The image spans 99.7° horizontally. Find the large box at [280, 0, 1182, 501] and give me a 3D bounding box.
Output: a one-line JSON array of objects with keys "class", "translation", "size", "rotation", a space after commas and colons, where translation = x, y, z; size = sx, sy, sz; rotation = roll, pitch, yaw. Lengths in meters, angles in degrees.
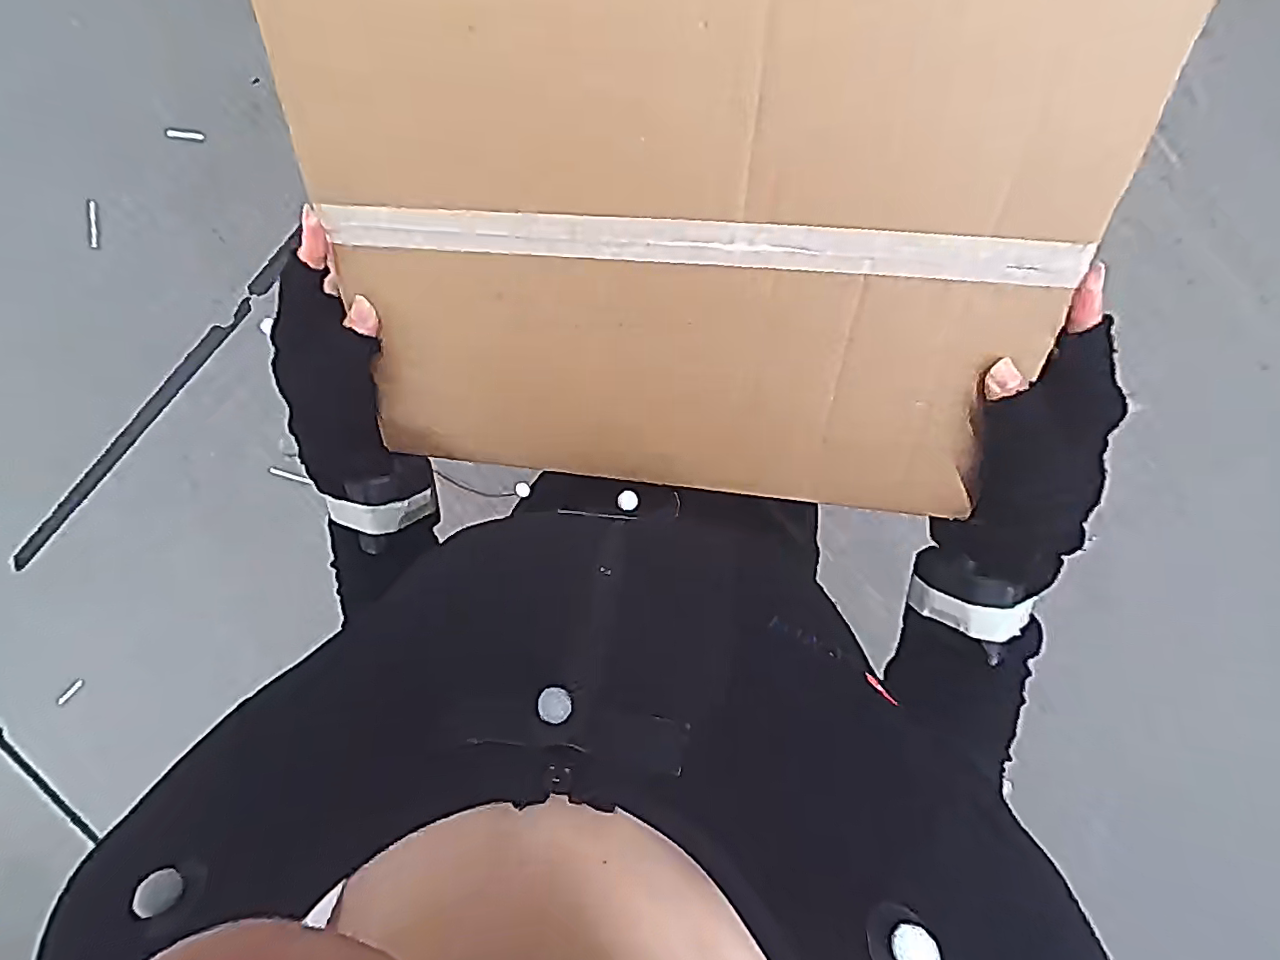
[{"class": "large box", "translation": [0.041, -0.212, 0.417], "size": [0.408, 0.320, 0.320], "rotation": [6, 126, 7]}]
